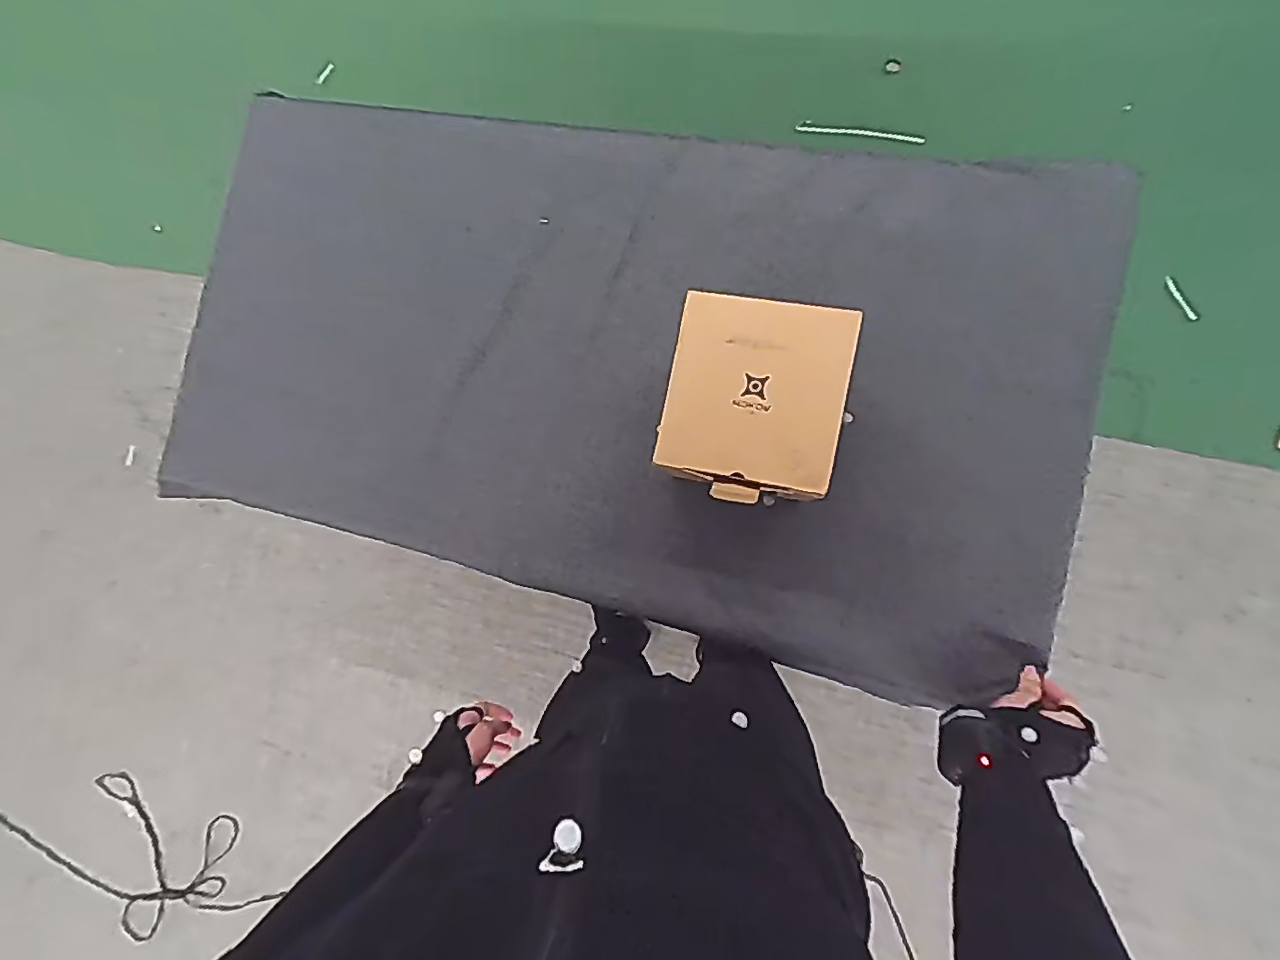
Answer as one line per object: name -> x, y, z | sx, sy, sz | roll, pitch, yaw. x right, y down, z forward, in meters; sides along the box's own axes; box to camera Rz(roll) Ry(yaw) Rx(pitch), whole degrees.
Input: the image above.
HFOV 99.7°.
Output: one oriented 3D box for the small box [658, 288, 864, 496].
small box -> 0.127, -0.082, 0.589 | 0.168, 0.176, 0.179 | 11, 87, 11
